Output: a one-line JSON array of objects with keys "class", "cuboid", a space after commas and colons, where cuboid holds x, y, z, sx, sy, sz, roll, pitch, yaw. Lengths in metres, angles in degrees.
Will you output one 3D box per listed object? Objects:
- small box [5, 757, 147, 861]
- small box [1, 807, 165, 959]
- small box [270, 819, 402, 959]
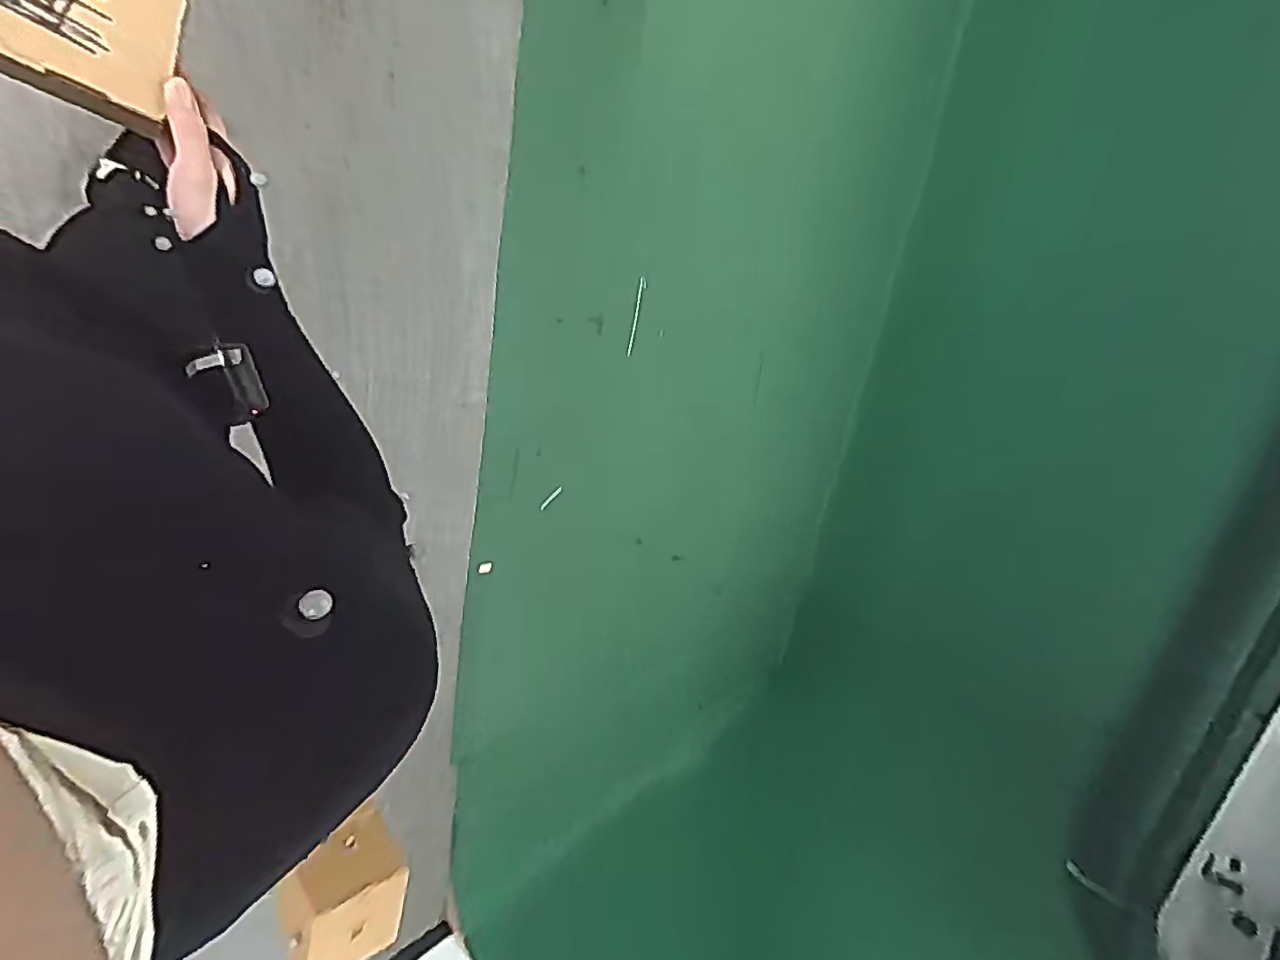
[{"class": "small box", "cuboid": [-1.002, 0.632, 0.967, 0.168, 0.176, 0.179, -7, 113, -47]}, {"class": "small box", "cuboid": [-0.884, 0.681, 0.866, 0.168, 0.176, 0.179, -8, 114, -47]}, {"class": "small box", "cuboid": [-0.576, 0.795, 1.018, 0.168, 0.176, 0.179, 1, 106, -49]}]
